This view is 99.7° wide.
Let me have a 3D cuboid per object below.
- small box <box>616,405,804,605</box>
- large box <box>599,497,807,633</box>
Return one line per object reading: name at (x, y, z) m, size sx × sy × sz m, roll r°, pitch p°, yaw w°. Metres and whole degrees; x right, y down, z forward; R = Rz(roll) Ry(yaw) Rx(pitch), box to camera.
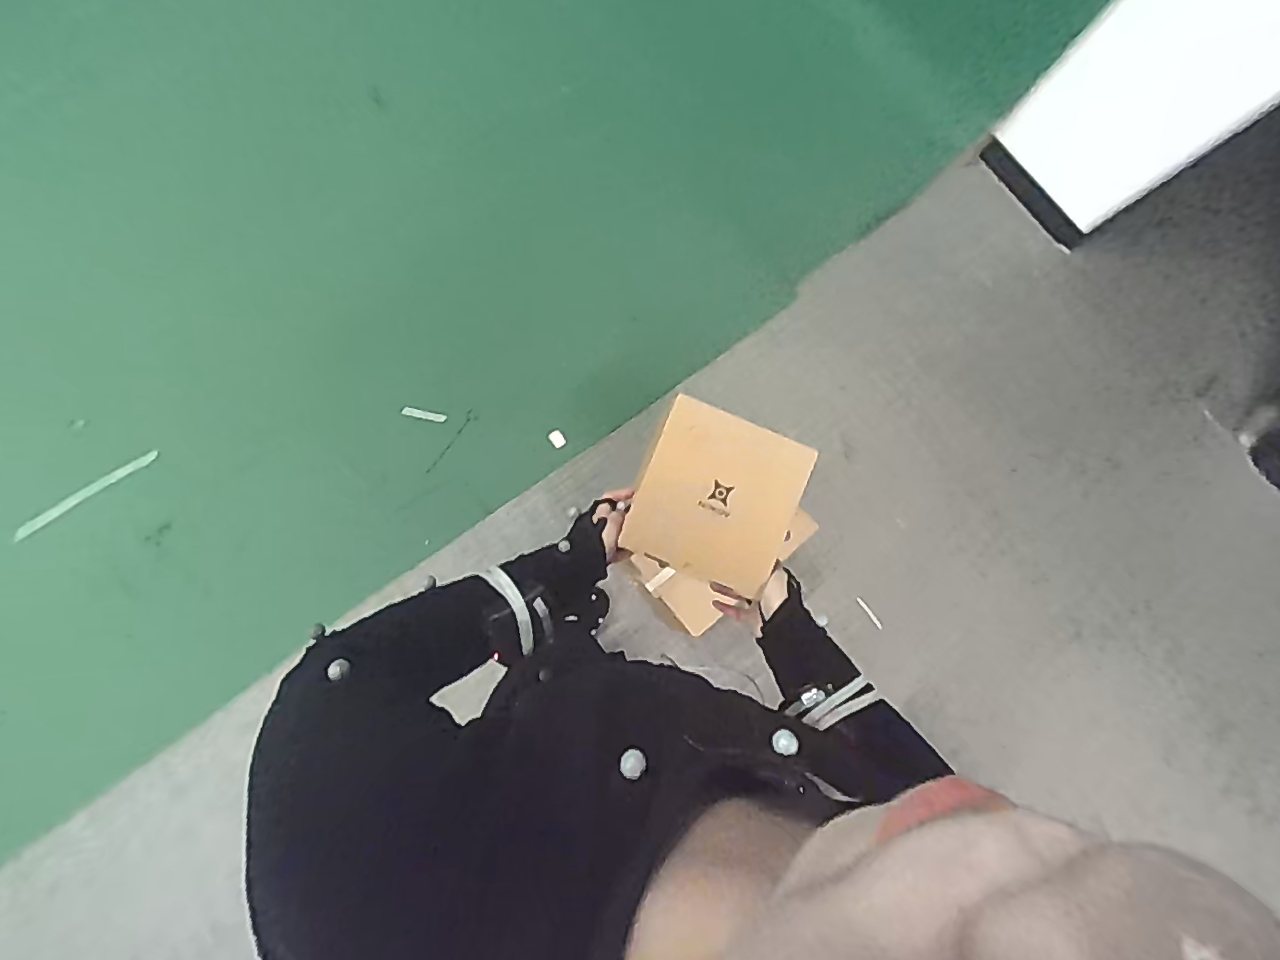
small box at (0.070, 0.030, 0.659) m, size 0.168 × 0.176 × 0.179 m, roll 20°, pitch 87°, yaw -3°
large box at (0.140, 0.137, 1.398) m, size 0.408 × 0.320 × 0.320 m, roll -44°, pitch 86°, yaw -13°
